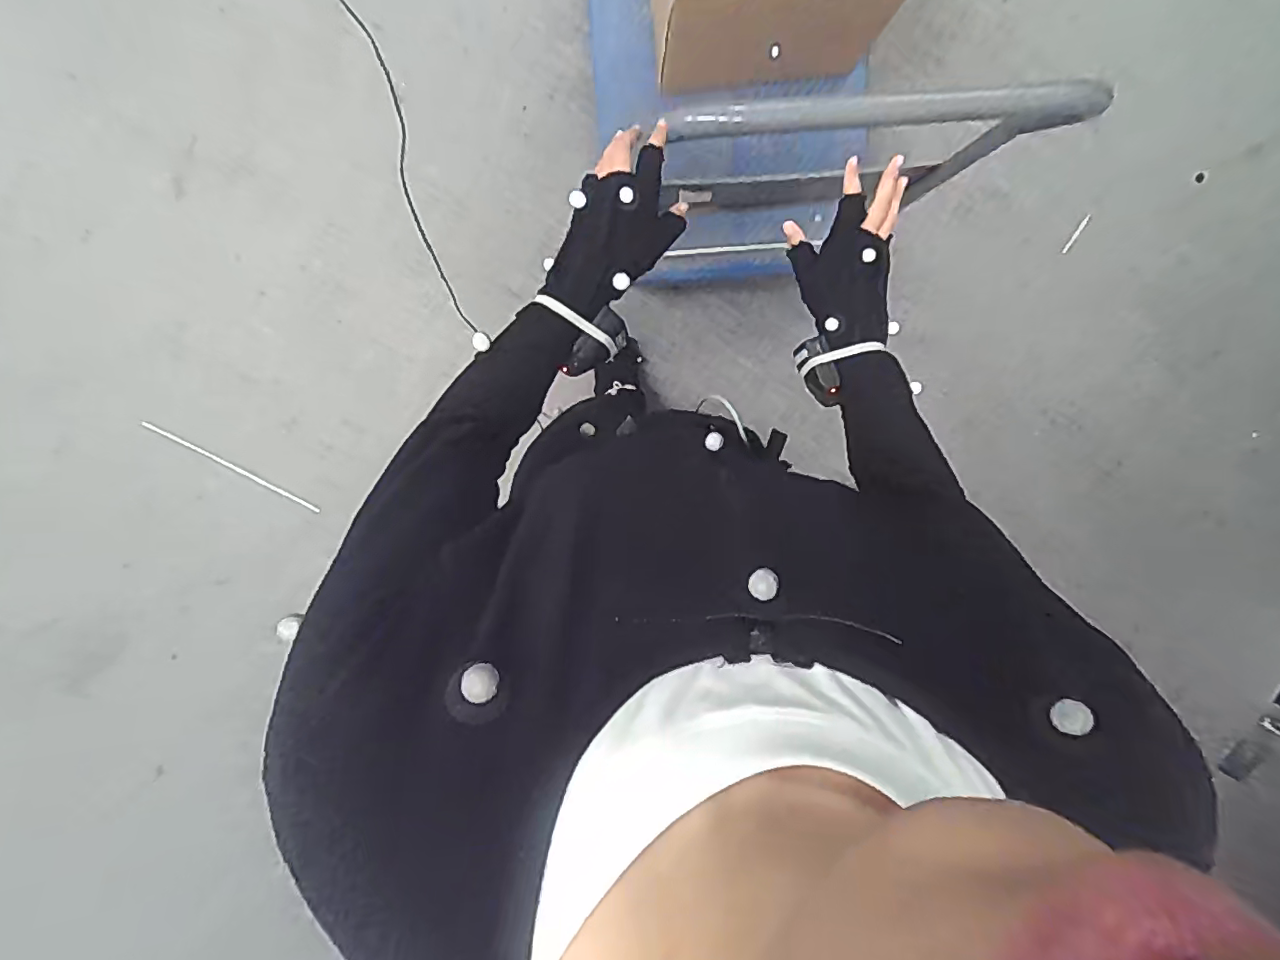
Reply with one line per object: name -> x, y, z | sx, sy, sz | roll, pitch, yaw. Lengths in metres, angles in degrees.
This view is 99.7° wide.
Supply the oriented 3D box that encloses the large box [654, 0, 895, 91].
large box -> 0.230, -0.961, 0.965 | 0.408, 0.320, 0.320 | -8, 101, 0
